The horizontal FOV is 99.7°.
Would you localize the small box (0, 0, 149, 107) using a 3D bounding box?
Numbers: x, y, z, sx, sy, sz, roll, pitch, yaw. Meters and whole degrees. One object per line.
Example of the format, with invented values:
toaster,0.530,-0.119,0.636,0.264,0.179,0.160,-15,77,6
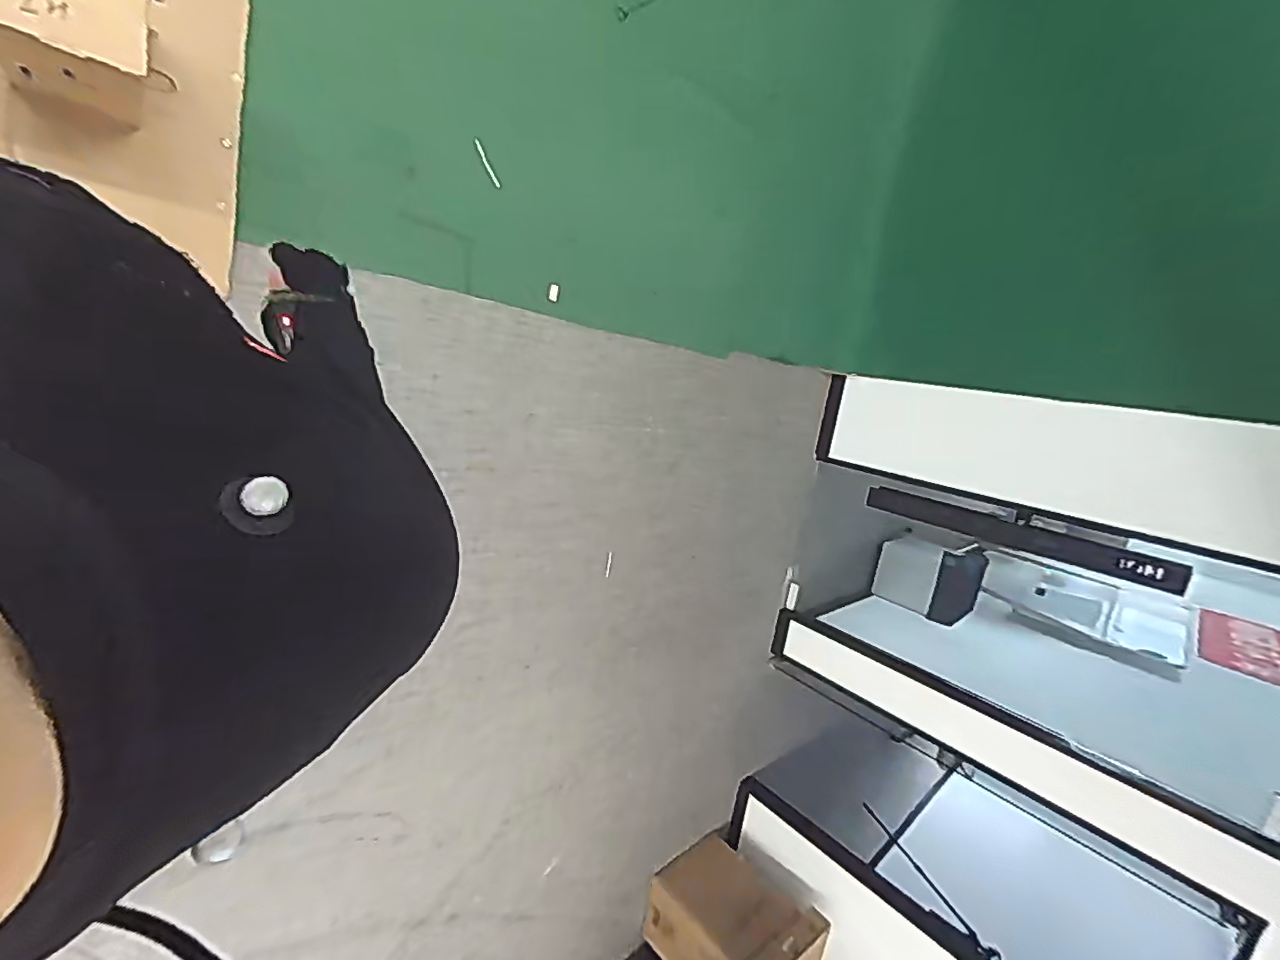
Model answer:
small box,-0.799,-0.669,0.753,0.168,0.176,0.179,2,102,-43
